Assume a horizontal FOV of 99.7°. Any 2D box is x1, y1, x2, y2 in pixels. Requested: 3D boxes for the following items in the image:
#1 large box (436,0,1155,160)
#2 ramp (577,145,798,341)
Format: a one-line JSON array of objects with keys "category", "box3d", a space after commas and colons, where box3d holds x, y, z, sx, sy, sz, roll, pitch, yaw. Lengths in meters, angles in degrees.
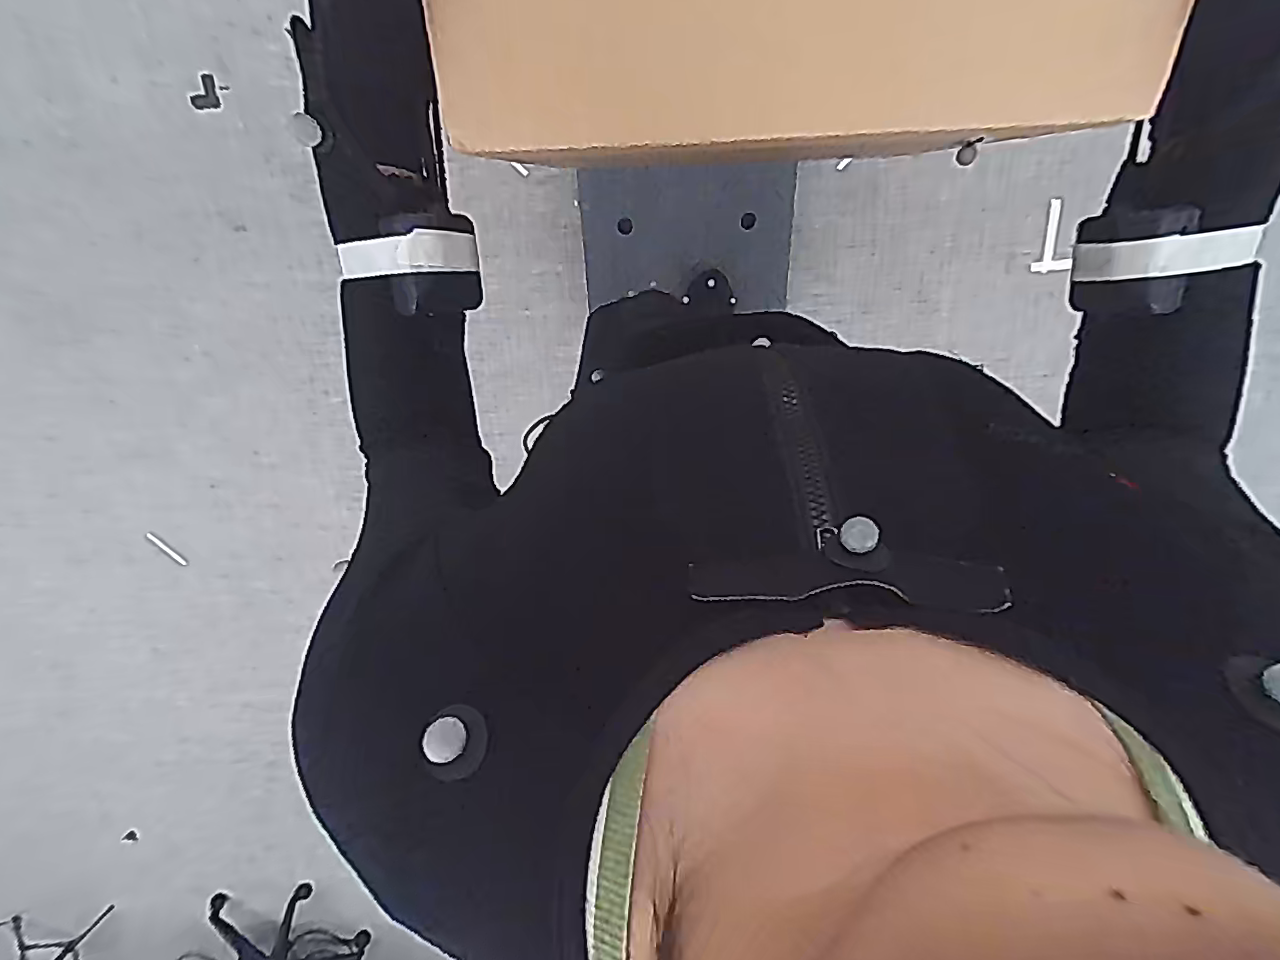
[{"category": "large box", "box3d": [0.086, -0.420, 0.385, 0.408, 0.320, 0.320, -1, 118, 4]}, {"category": "ramp", "box3d": [0.100, -0.799, 1.154, 0.509, 0.206, 0.991, -3, 110, 3]}]
